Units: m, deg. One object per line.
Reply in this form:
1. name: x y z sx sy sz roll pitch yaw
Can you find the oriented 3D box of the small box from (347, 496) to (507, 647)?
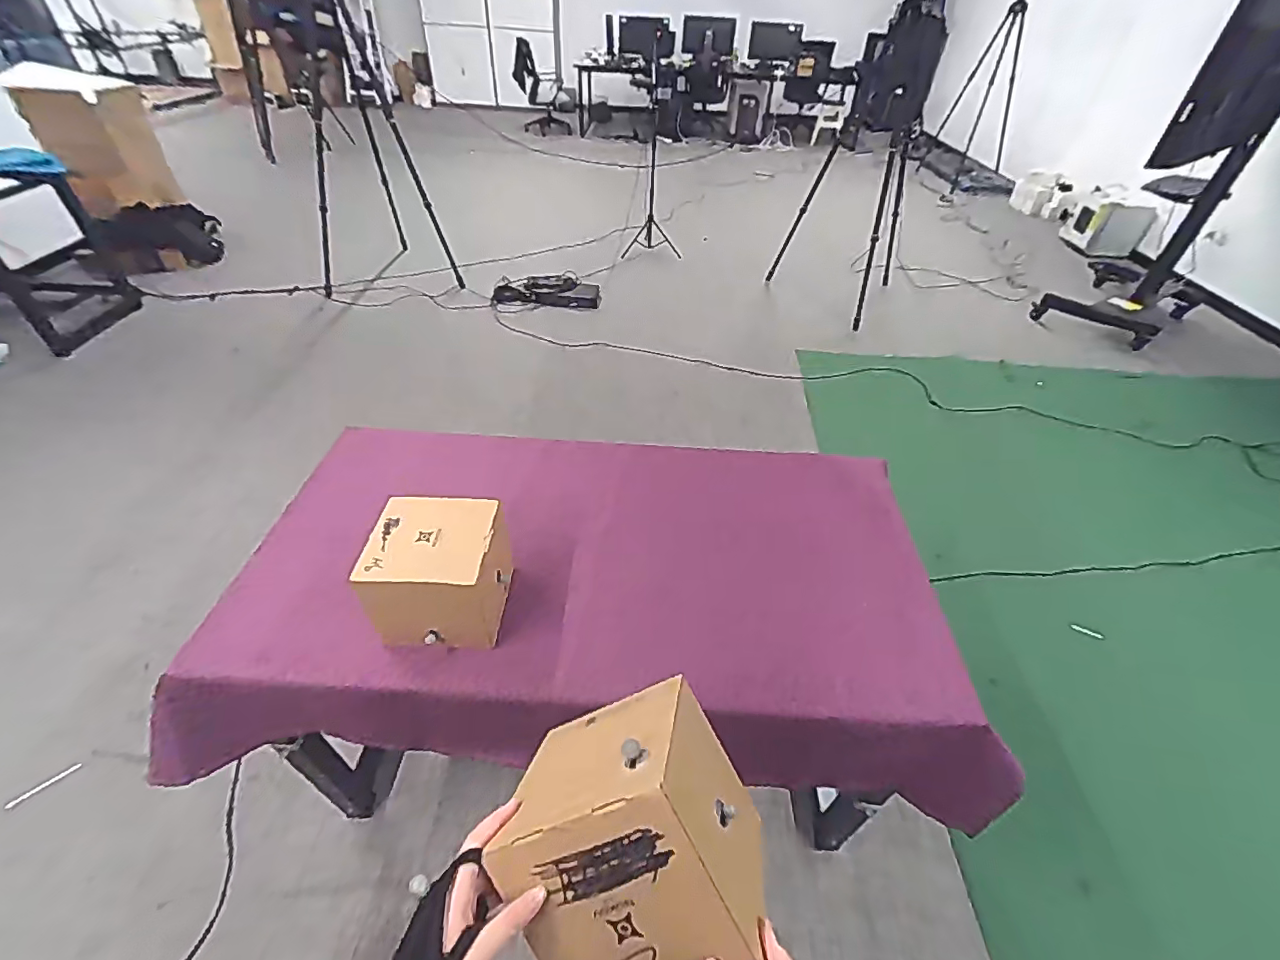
1. small box: -0.314 0.145 0.845 0.179 0.176 0.168 3 42 -2
